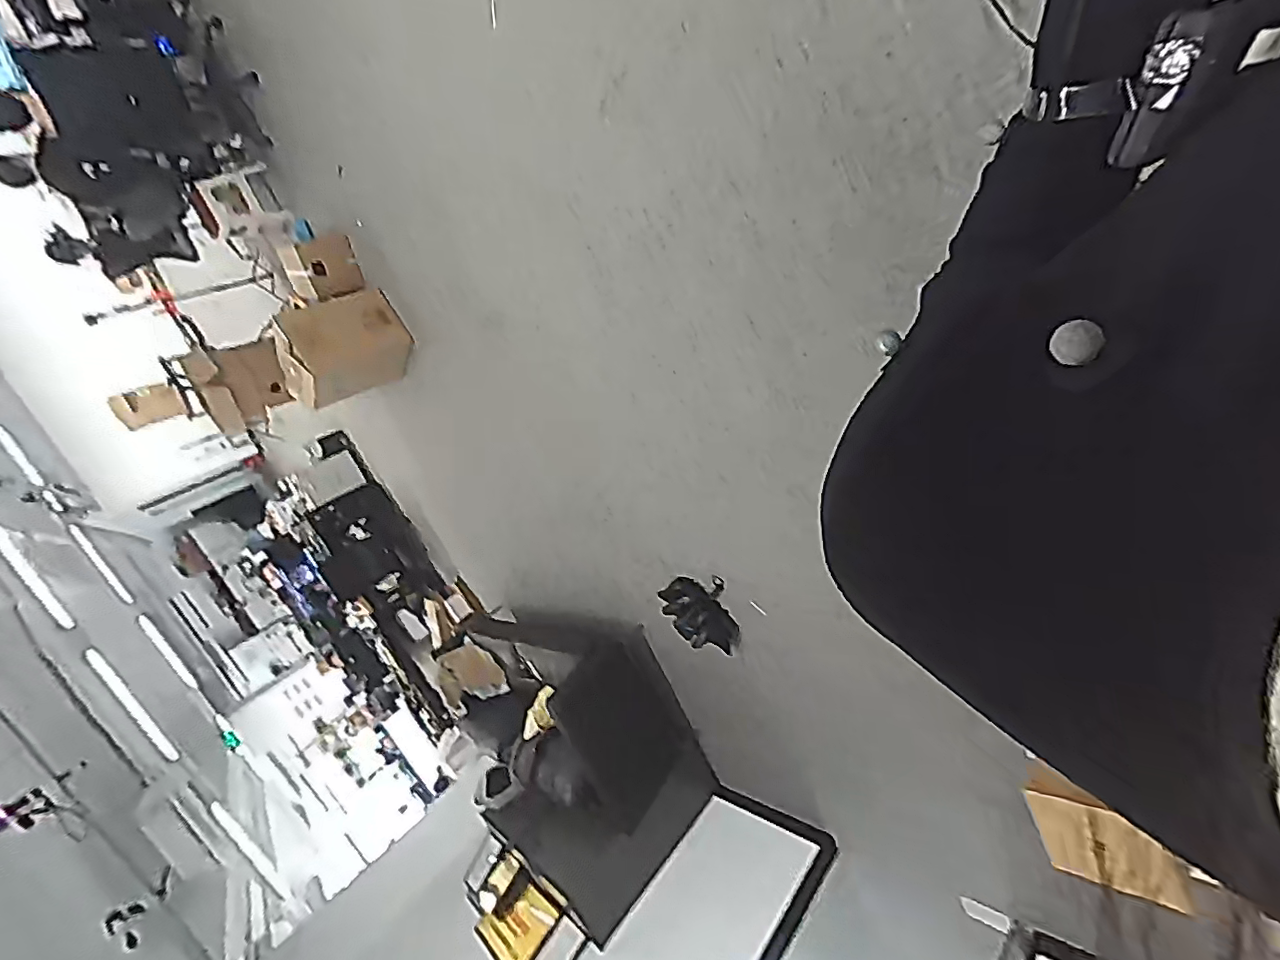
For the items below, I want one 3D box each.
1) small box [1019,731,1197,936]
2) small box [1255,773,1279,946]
[{"bbox_3d":[0.740,0.538,0.852,0.168,0.176,0.179,-14,104,53],"label":"small box"},{"bbox_3d":[0.896,0.503,0.663,0.168,0.176,0.179,-15,107,54],"label":"small box"}]
